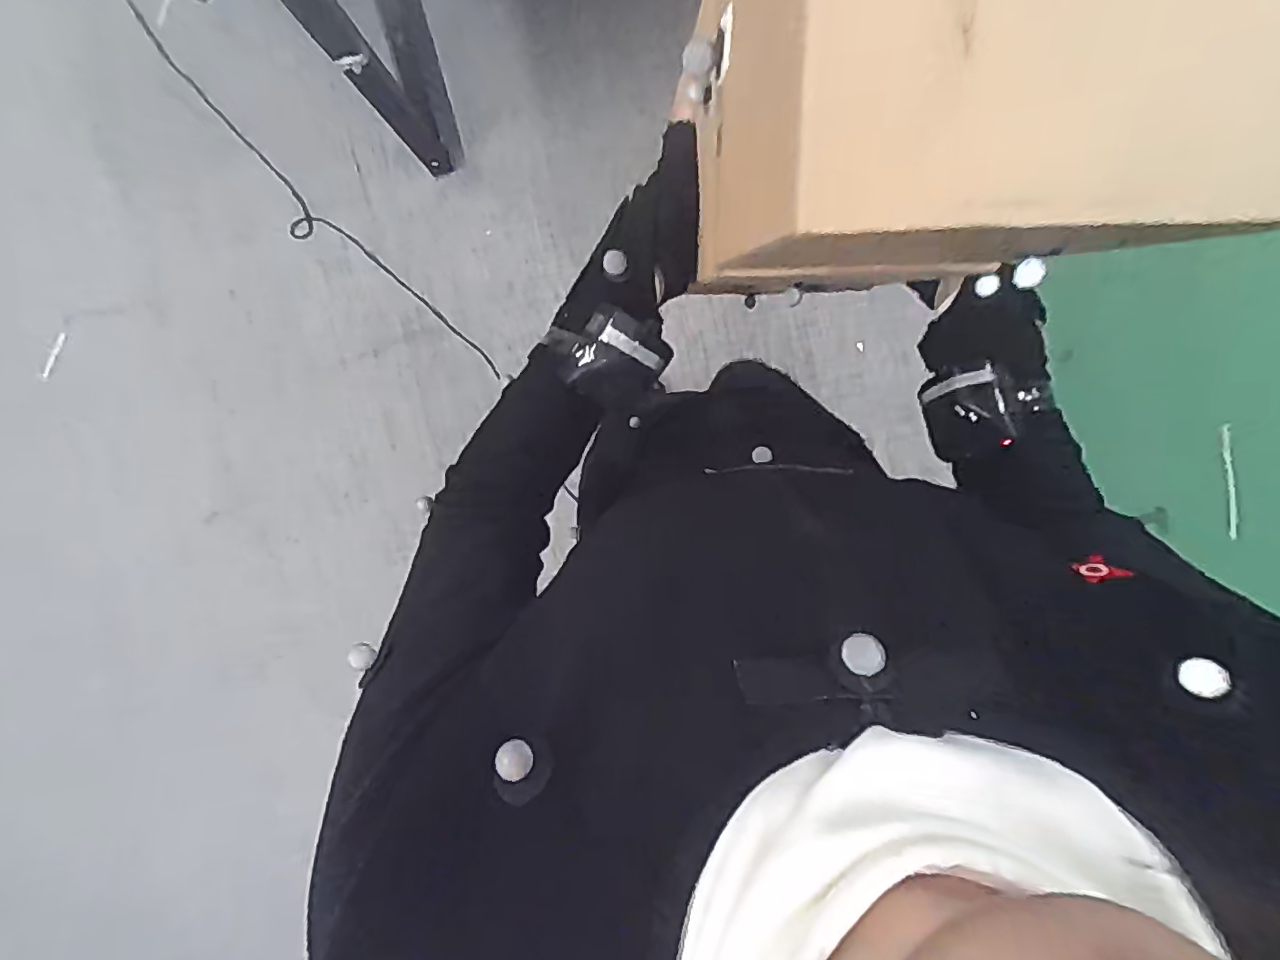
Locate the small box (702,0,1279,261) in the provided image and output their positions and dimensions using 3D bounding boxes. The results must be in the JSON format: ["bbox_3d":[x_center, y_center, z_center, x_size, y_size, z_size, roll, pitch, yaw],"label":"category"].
[{"bbox_3d":[0.125,-0.186,0.223,0.179,0.176,0.168,-3,108,0],"label":"small box"}]

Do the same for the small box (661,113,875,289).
[{"bbox_3d":[0.119,-0.281,0.535,0.179,0.176,0.168,-5,109,-2],"label":"small box"}]

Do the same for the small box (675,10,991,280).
[{"bbox_3d":[0.122,-0.233,0.377,0.179,0.176,0.168,-2,107,-2],"label":"small box"}]
